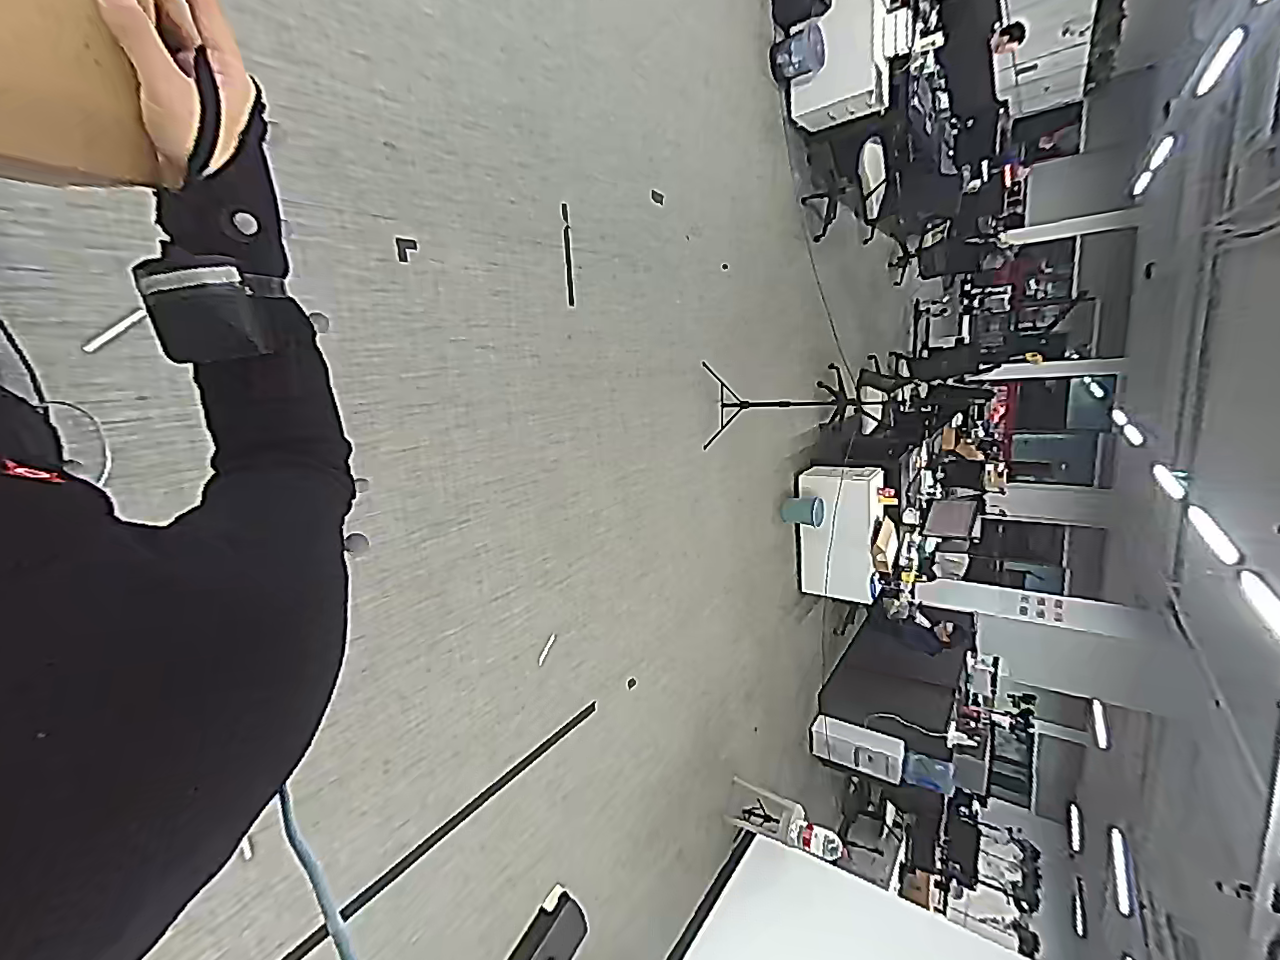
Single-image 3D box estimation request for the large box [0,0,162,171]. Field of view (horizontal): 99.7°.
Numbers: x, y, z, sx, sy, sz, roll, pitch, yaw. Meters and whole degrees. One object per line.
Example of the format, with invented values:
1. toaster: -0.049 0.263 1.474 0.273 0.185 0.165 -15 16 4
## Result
1. large box: -0.512 -0.348 0.214 0.408 0.320 0.320 -15 120 -53
